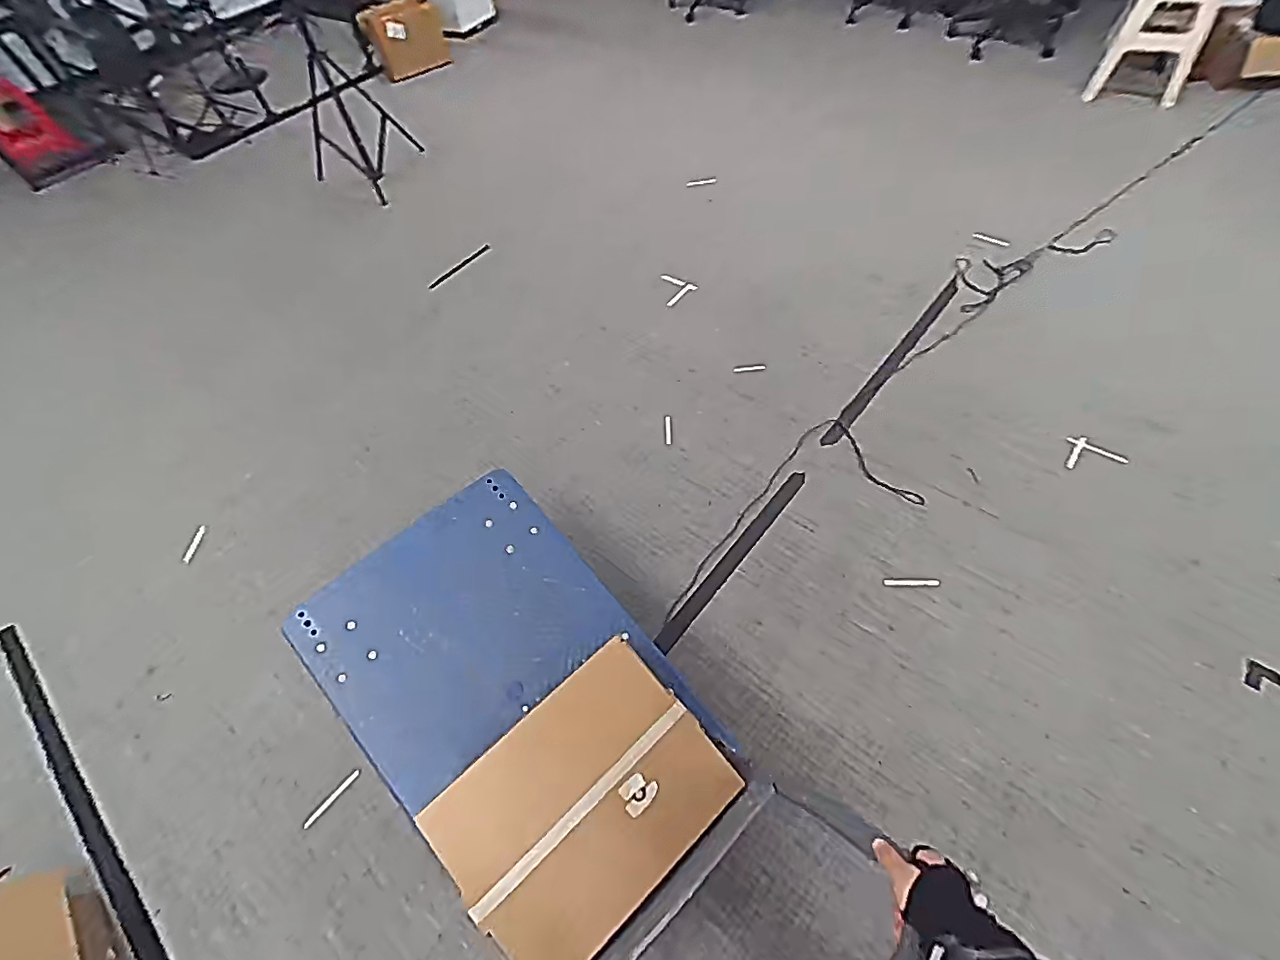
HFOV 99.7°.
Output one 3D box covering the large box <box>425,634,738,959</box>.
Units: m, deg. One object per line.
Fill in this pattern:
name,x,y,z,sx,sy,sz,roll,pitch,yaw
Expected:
large box,-0.100,0.547,0.978,0.408,0.320,0.320,-40,80,-20
